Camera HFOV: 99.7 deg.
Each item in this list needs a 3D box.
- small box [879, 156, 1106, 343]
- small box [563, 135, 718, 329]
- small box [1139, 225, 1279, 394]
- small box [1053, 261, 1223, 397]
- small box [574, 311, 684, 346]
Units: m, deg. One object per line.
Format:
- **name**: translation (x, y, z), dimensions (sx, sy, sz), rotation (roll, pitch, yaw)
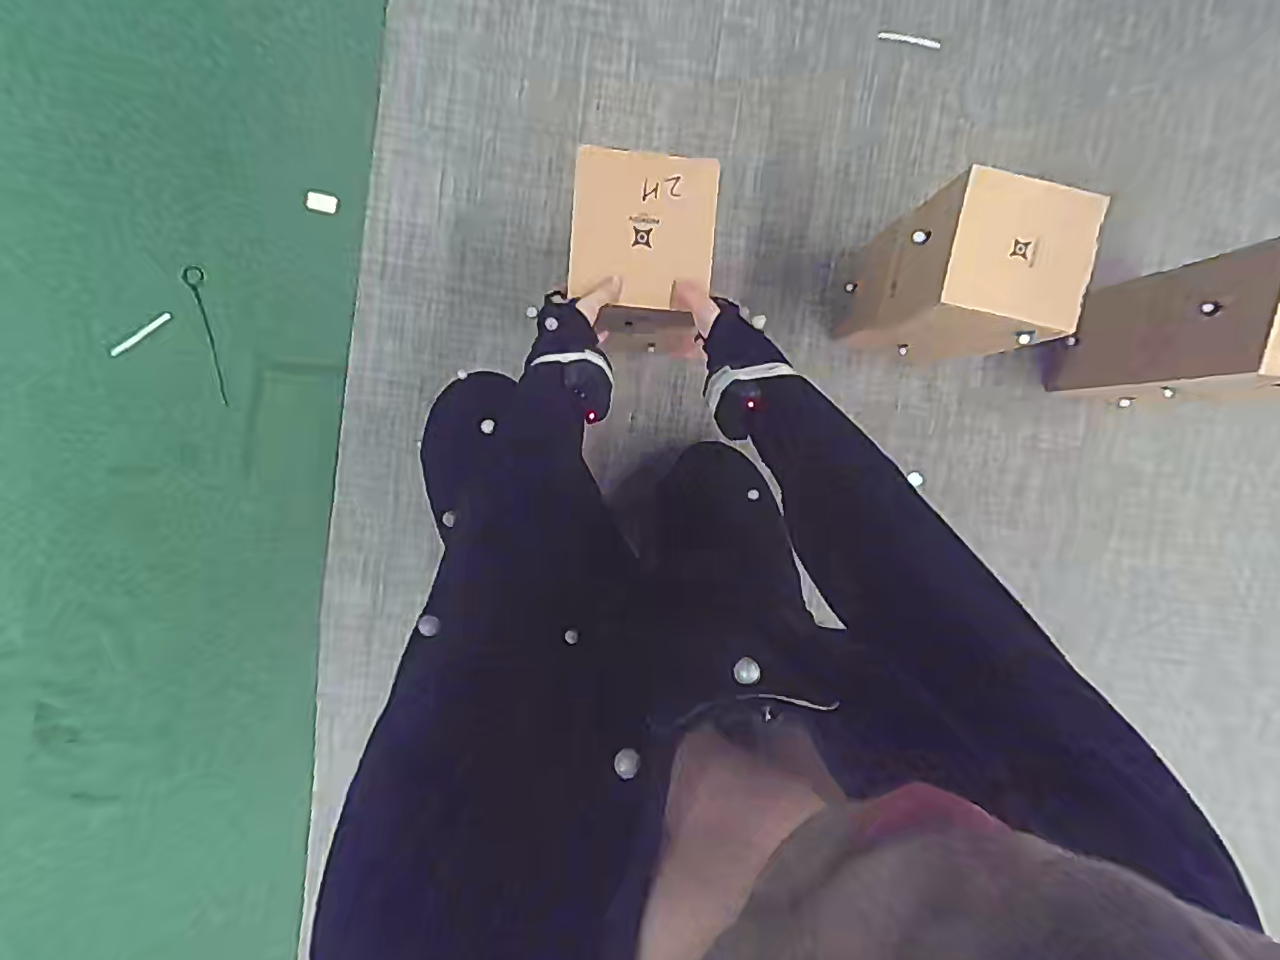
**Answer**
- **small box**: translation (0.448, -0.289, 0.718), dimensions (0.179, 0.176, 0.168), rotation (11, 94, -3)
- **small box**: translation (-0.005, -0.301, 0.697), dimensions (0.168, 0.176, 0.179), rotation (5, 94, -5)
- **small box**: translation (0.846, -0.220, 0.739), dimensions (0.168, 0.176, 0.179), rotation (11, 94, -3)
- **small box**: translation (0.842, -0.239, 0.903), dimensions (0.168, 0.176, 0.179), rotation (10, 95, -4)
- **small box**: translation (-0.009, -0.319, 0.861), dimensions (0.168, 0.176, 0.179), rotation (5, 94, -3)
